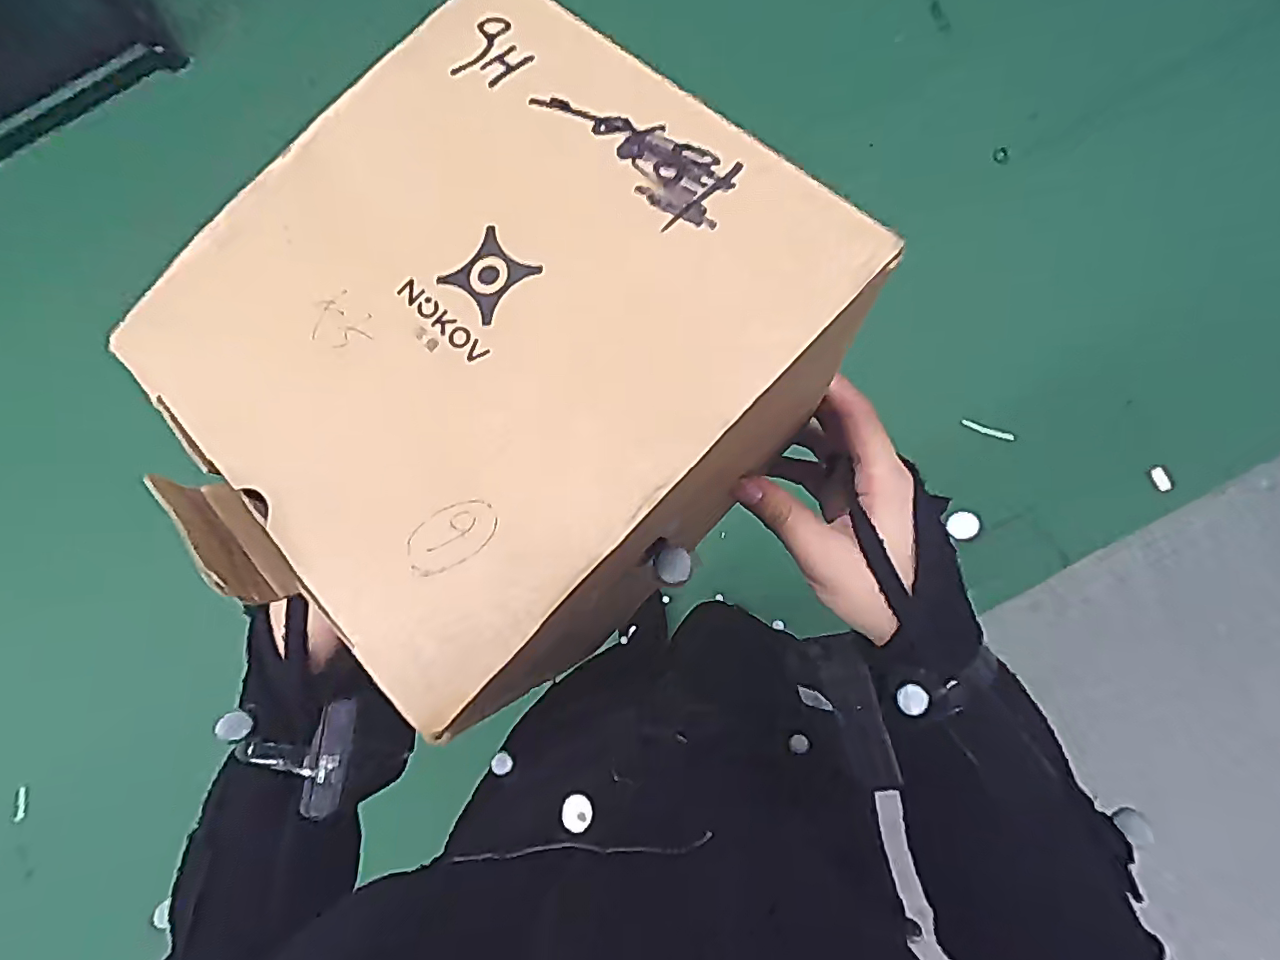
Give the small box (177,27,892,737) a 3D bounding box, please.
[{"bbox_3d":[-0.030,-0.028,0.244,0.168,0.176,0.179,44,87,13],"label":"small box"}]
